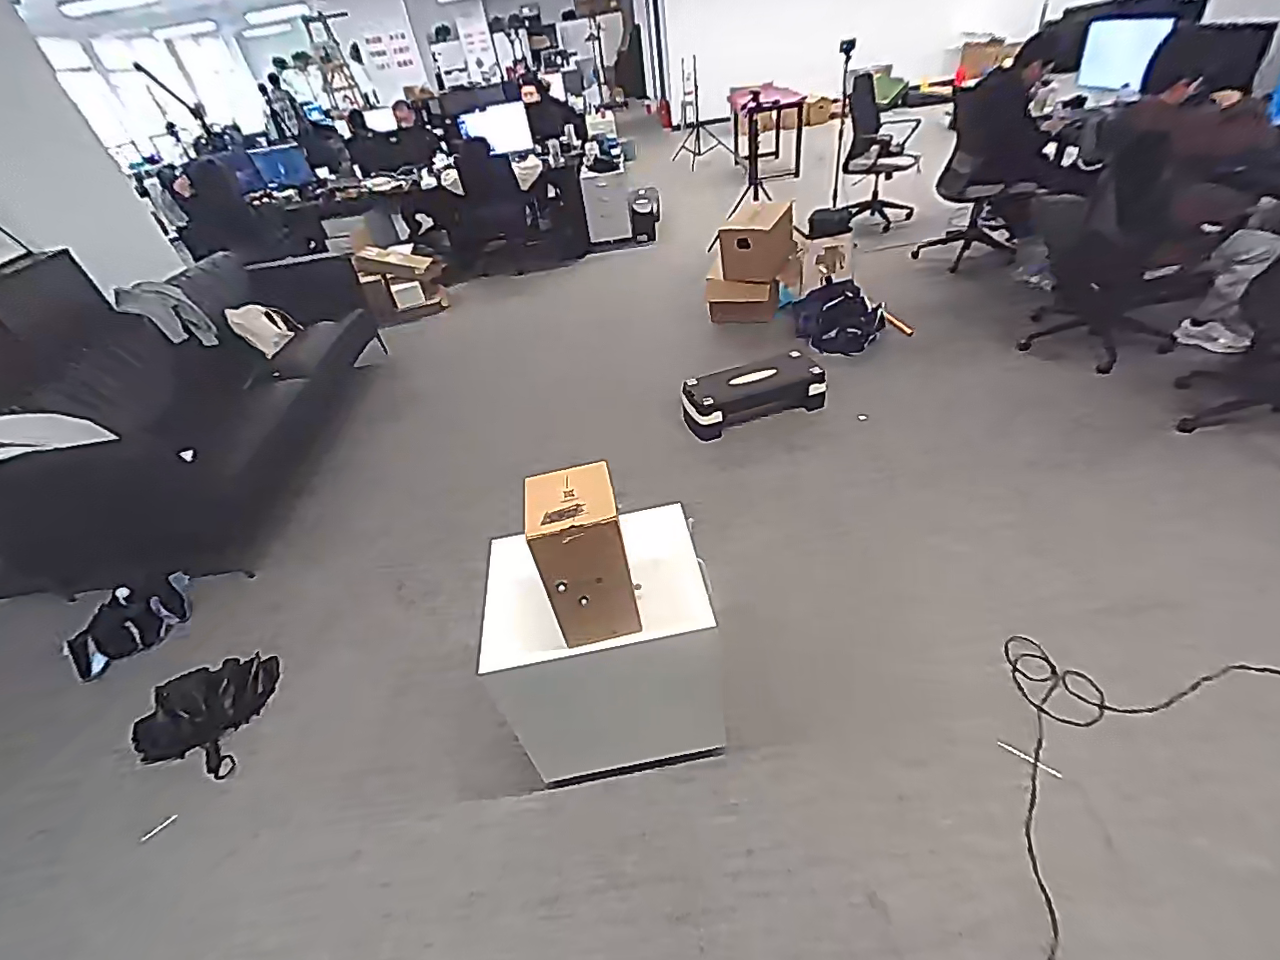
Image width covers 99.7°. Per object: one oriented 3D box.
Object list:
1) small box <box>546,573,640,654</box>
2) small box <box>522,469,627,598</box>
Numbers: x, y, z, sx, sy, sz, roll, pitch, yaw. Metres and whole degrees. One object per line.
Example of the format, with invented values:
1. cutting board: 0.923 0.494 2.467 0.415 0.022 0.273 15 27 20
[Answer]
1. small box: -0.103 0.237 1.153 0.168 0.176 0.179 -14 37 -4
2. small box: -0.126 0.109 1.052 0.168 0.176 0.179 -13 37 -4
